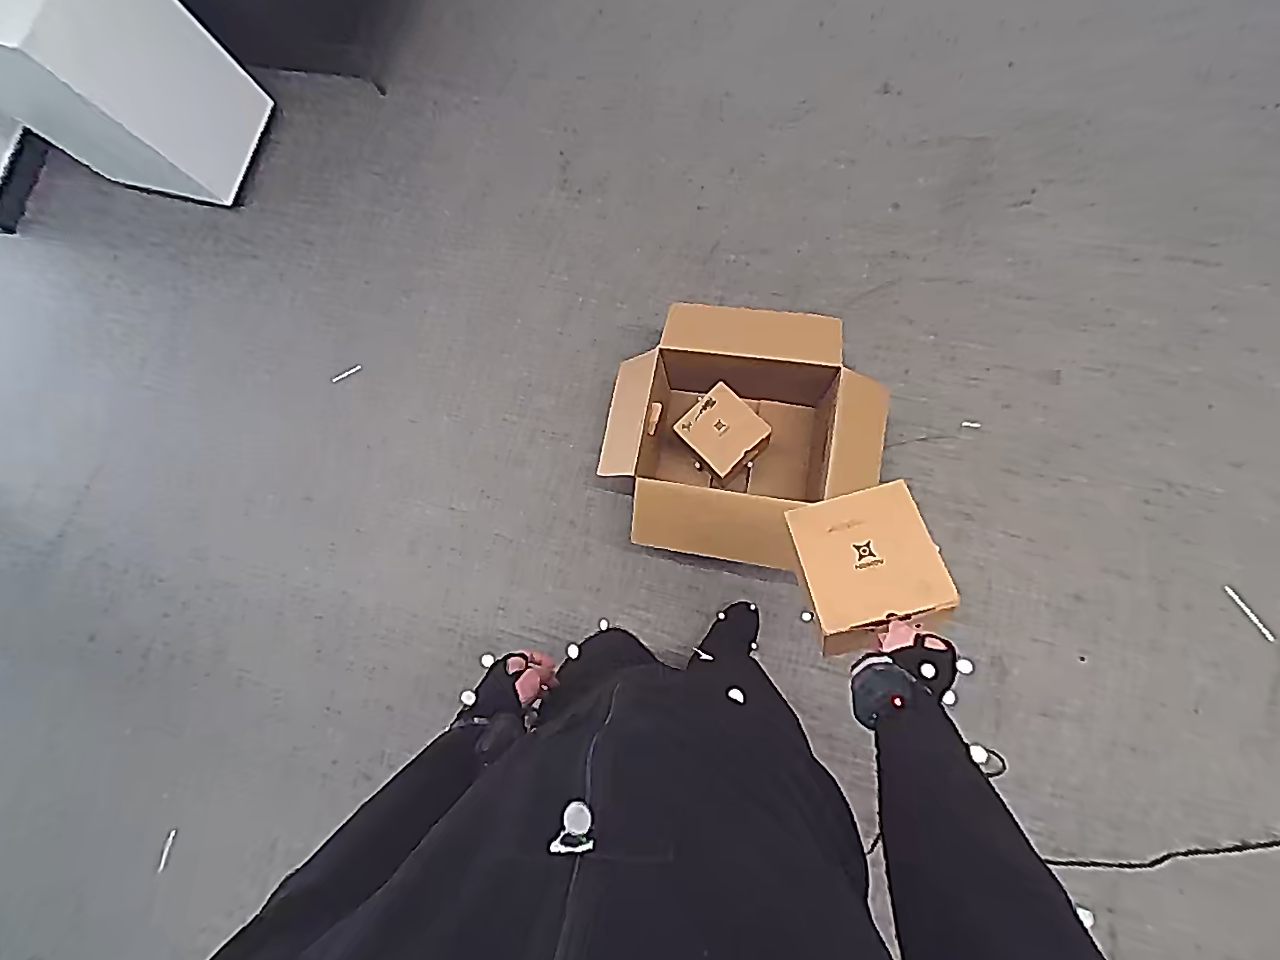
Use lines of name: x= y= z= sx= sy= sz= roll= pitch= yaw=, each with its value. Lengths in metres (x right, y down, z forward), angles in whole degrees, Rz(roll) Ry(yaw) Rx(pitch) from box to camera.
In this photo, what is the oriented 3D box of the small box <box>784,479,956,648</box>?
small box: x=0.314 y=0.130 z=0.771 sx=0.168 sy=0.176 sz=0.179 roll=-15 pitch=57 yaw=7
